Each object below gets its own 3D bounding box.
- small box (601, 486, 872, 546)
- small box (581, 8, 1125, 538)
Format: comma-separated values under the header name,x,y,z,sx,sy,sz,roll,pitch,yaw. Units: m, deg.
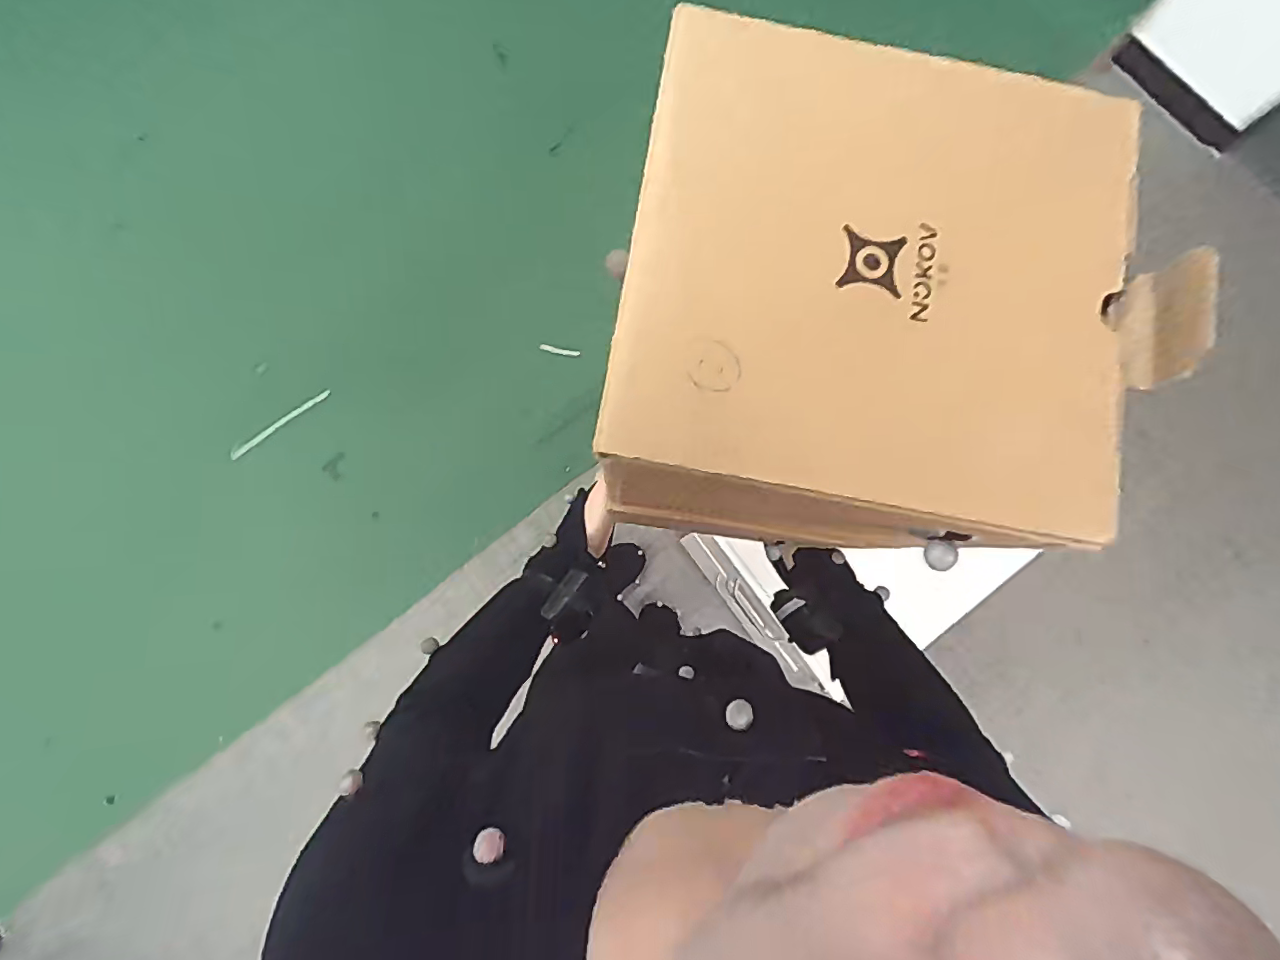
name,x,y,z,sx,sy,sz,roll,pitch,yaw
small box,0.067,-0.041,0.424,0.179,0.176,0.168,7,83,-2
small box,0.074,-0.065,0.263,0.179,0.176,0.168,9,83,-3
